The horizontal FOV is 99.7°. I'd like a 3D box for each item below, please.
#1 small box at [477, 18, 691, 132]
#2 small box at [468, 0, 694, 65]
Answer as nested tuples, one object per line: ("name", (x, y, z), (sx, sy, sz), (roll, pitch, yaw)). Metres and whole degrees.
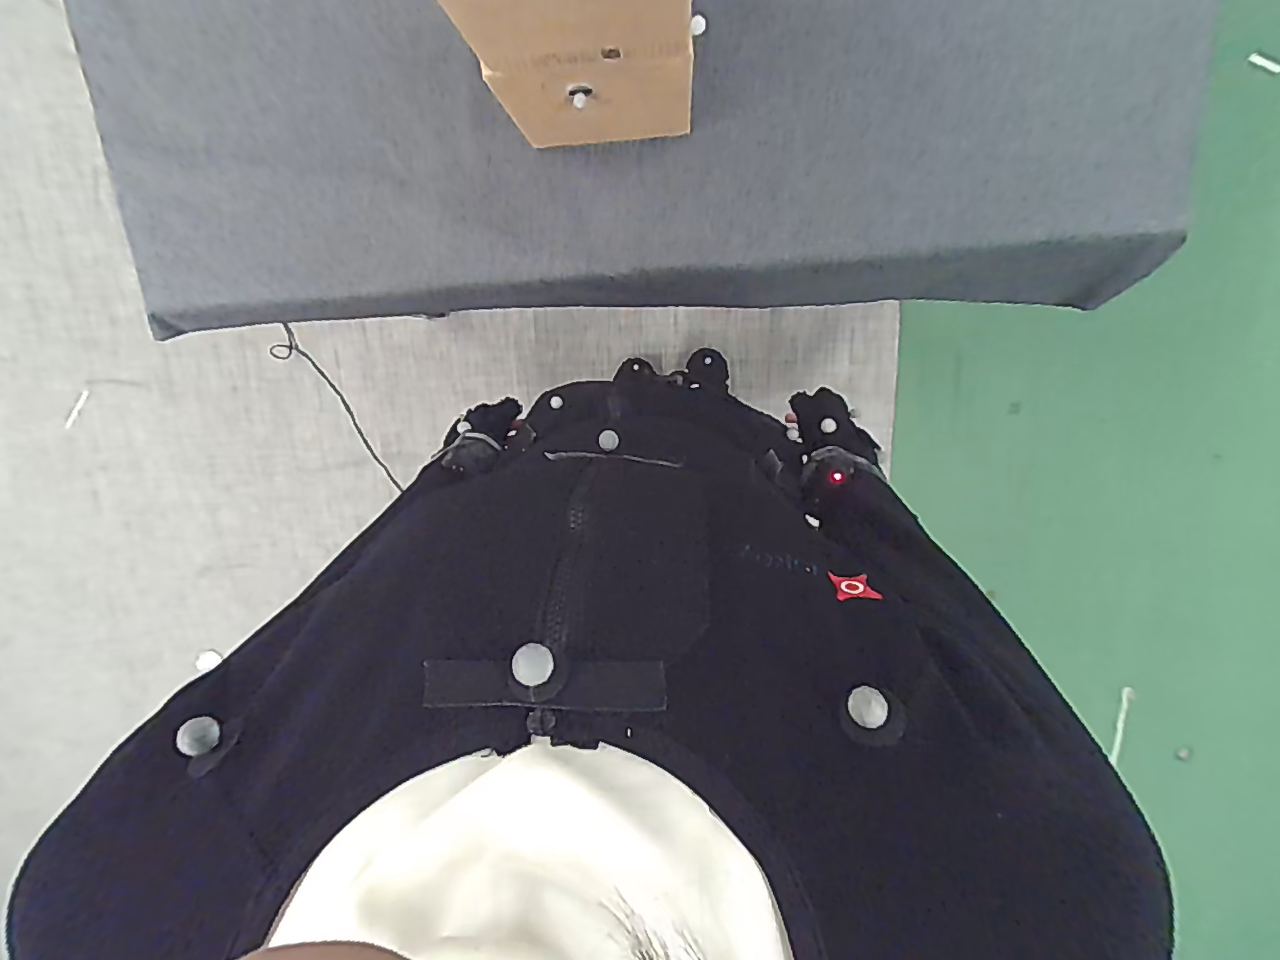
("small box", (-0.042, -0.447, 0.501), (0.179, 0.176, 0.168), (-2, 104, 5))
("small box", (-0.049, -0.411, 0.344), (0.168, 0.176, 0.179), (-4, 105, 4))
